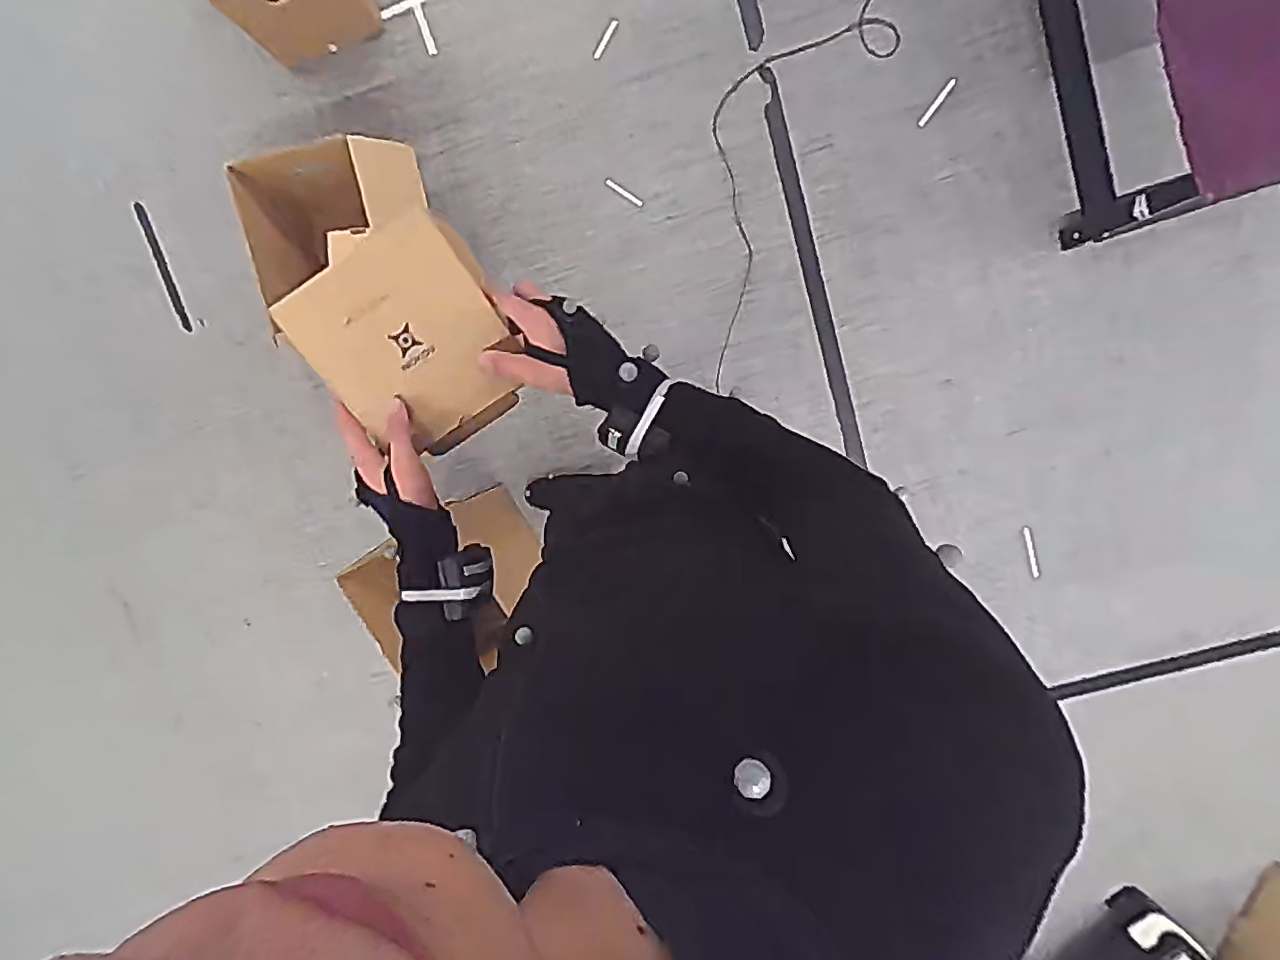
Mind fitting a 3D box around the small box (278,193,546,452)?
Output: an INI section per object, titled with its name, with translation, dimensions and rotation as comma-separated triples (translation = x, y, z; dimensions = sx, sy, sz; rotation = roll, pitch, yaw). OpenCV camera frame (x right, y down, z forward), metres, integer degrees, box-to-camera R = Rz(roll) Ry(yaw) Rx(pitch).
[small box]
translation = -0.210, -0.159, 0.561
dimensions = 0.168, 0.176, 0.179
rotation = -31, 108, 3
